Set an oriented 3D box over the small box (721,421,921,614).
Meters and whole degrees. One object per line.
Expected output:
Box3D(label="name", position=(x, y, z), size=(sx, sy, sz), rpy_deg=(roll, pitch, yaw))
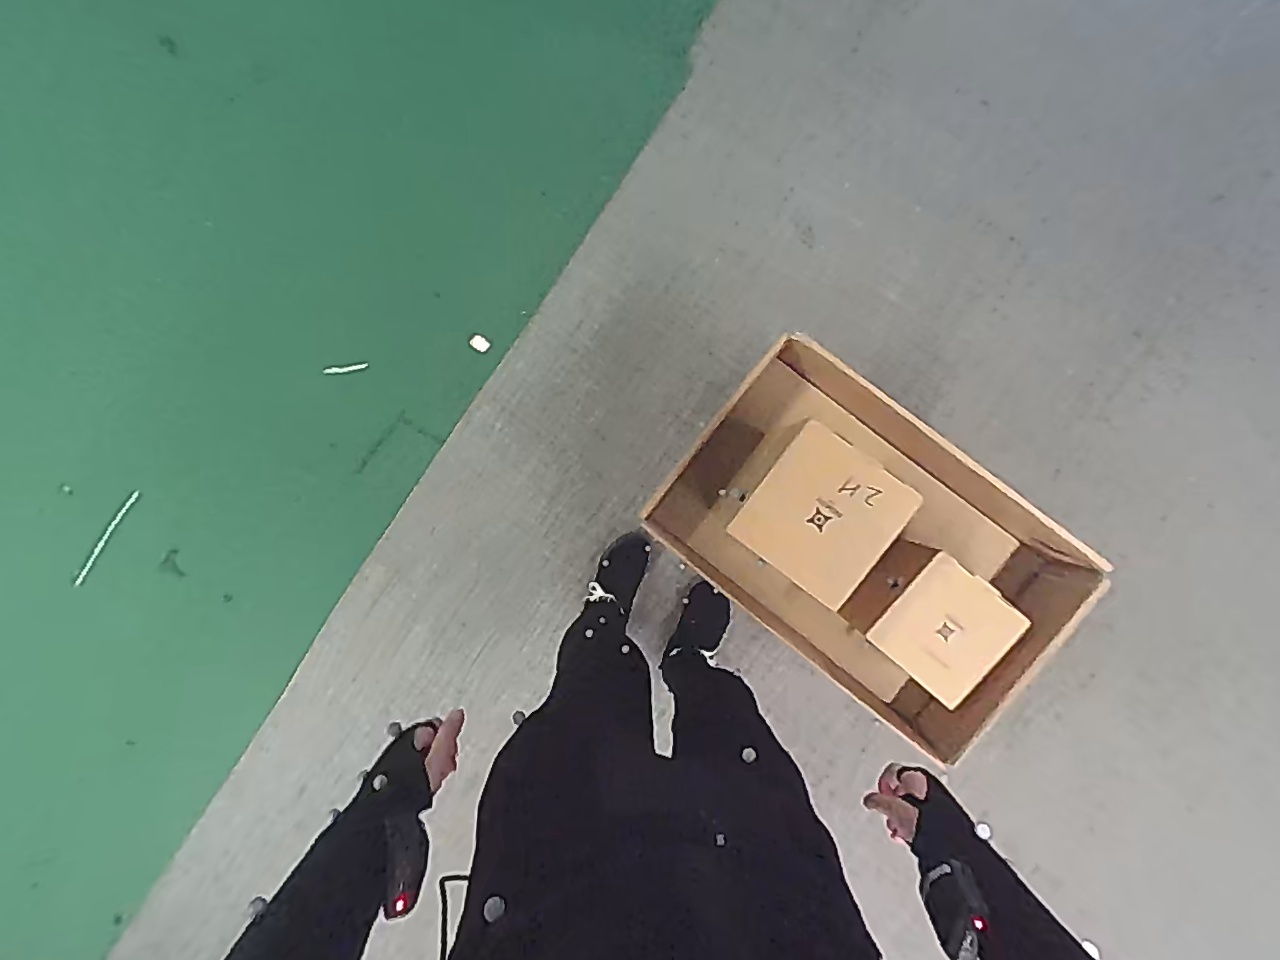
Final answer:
Box3D(label="small box", position=(0.223, 0.044, 0.723), size=(0.168, 0.176, 0.179), rpy_deg=(38, 94, 3))
